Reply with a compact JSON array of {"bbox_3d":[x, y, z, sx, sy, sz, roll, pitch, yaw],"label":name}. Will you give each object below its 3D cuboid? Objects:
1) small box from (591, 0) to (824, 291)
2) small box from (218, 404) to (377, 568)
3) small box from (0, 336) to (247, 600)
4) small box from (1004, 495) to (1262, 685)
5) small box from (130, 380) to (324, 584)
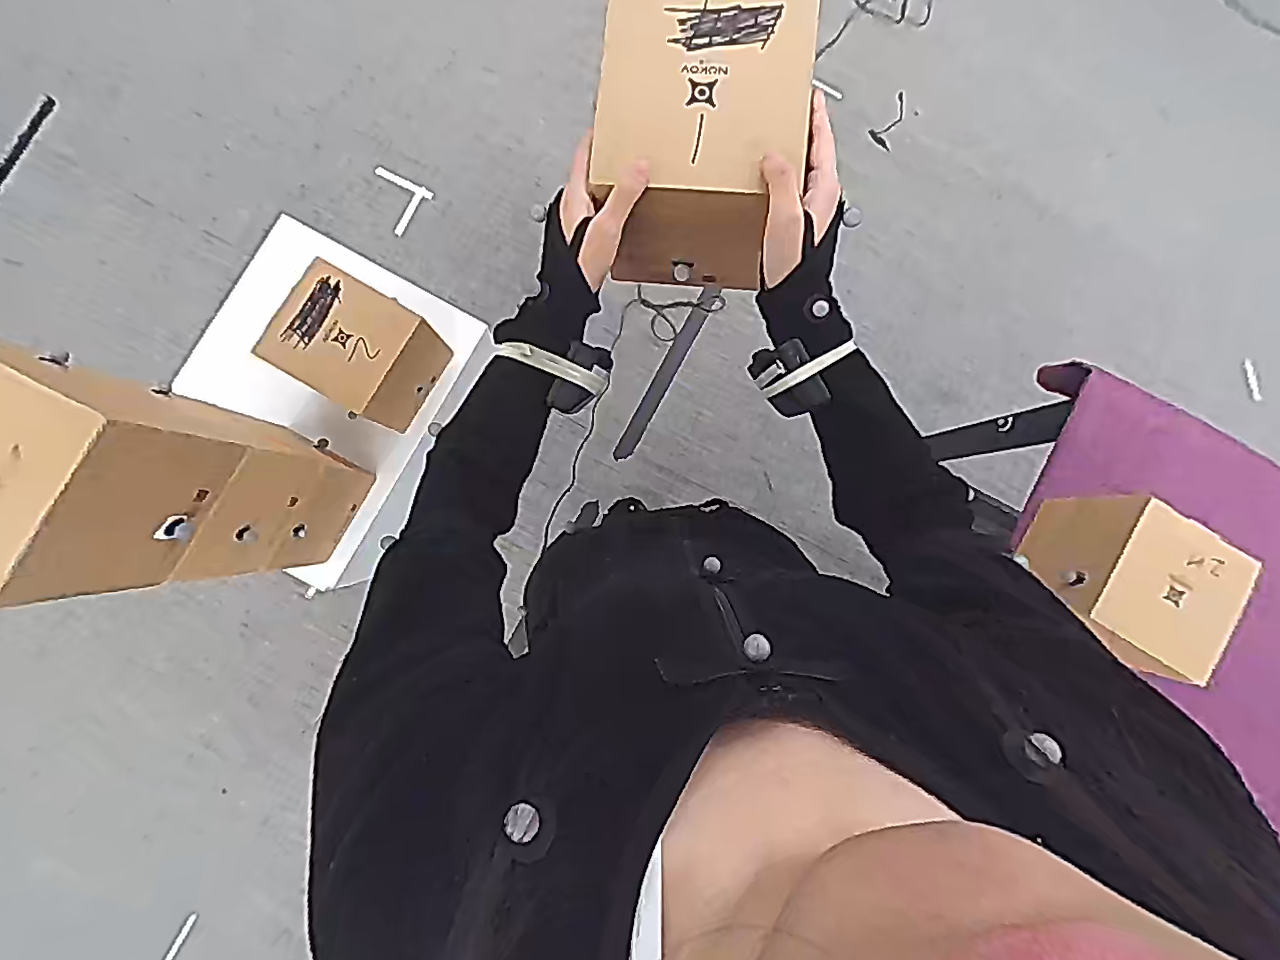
[{"bbox_3d":[0.056,-0.297,0.491,0.168,0.176,0.179,6,86,4],"label":"small box"},{"bbox_3d":[-0.536,0.015,0.801,0.179,0.176,0.168,29,85,0],"label":"small box"},{"bbox_3d":[-0.514,-0.012,0.478,0.179,0.176,0.168,27,85,-2],"label":"small box"},{"bbox_3d":[0.646,0.139,0.734,0.168,0.176,0.179,32,84,-1],"label":"small box"},{"bbox_3d":[-0.524,0.003,0.640,0.179,0.176,0.168,28,84,-1],"label":"small box"}]
